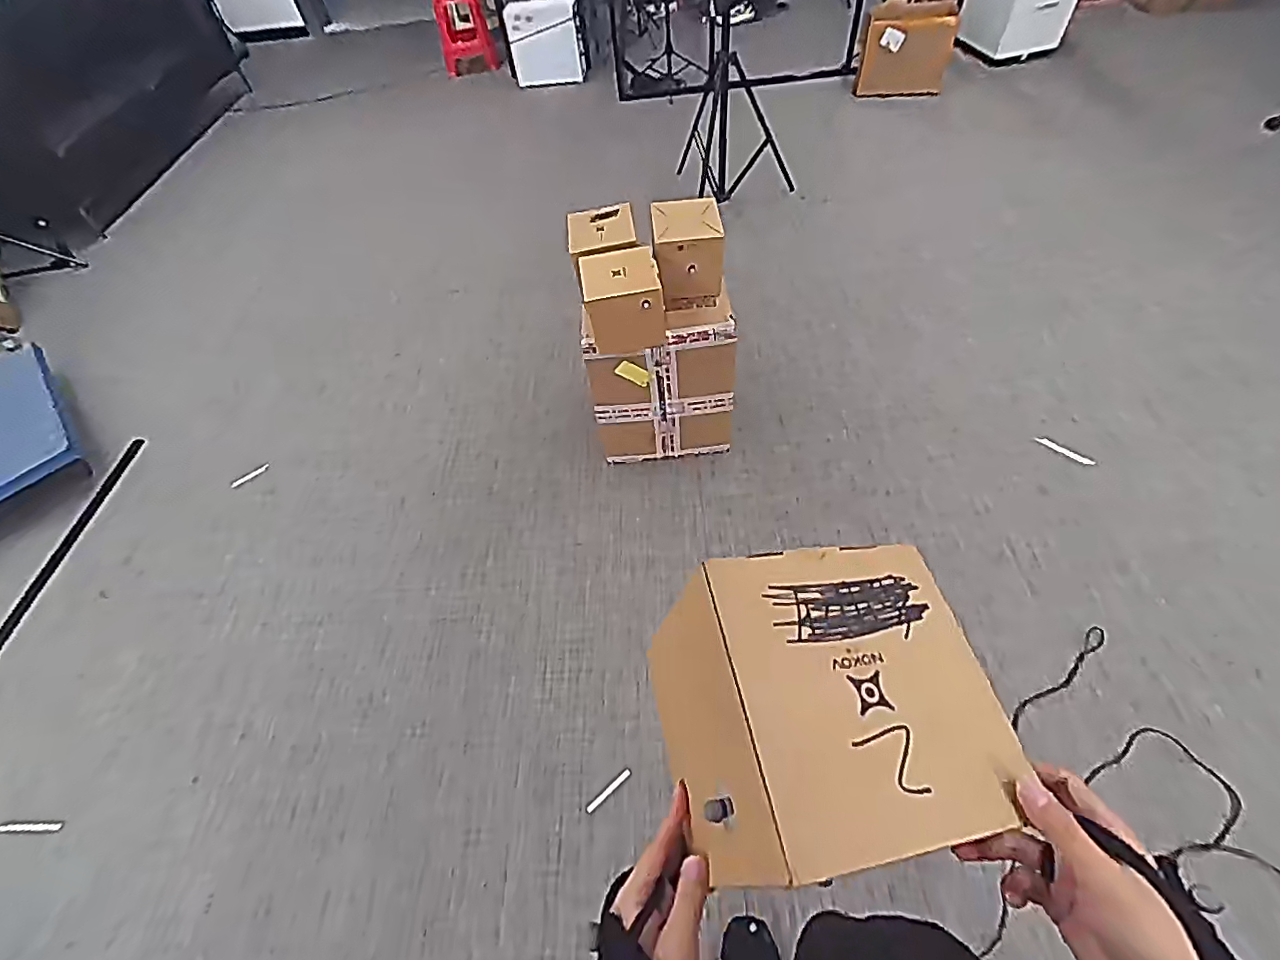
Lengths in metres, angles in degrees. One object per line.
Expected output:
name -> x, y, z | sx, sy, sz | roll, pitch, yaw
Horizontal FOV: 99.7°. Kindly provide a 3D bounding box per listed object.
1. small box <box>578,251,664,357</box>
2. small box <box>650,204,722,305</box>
small box -> -0.043, -0.418, 1.303 | 0.179, 0.176, 0.168 | -10, 56, -1
small box -> 0.115, -0.580, 1.389 | 0.168, 0.176, 0.179 | -4, 55, 0
